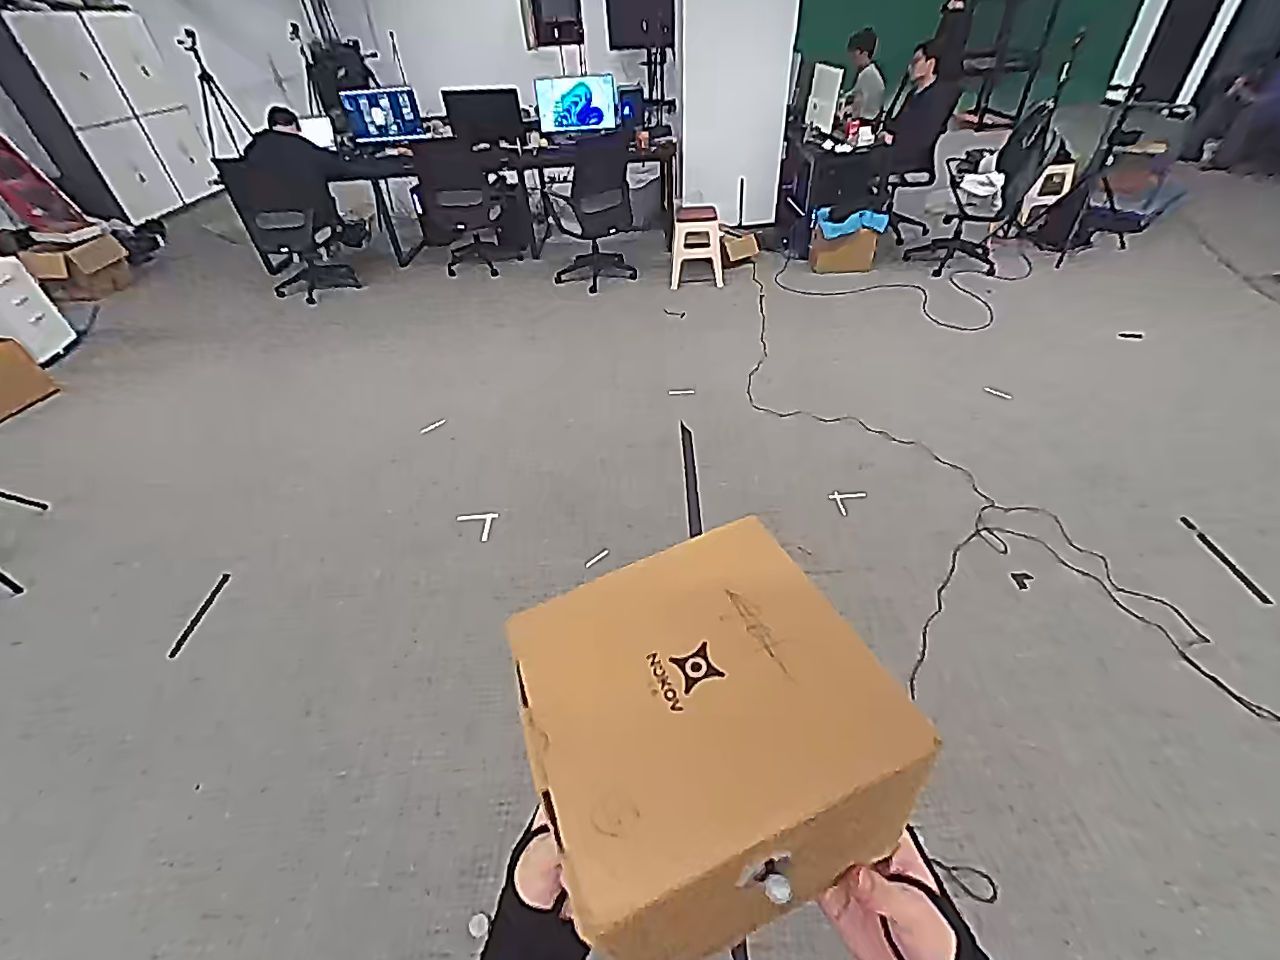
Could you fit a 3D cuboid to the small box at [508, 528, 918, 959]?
[{"bbox_3d":[0.039,0.168,0.347,0.179,0.176,0.168,-22,41,-13],"label":"small box"}]
